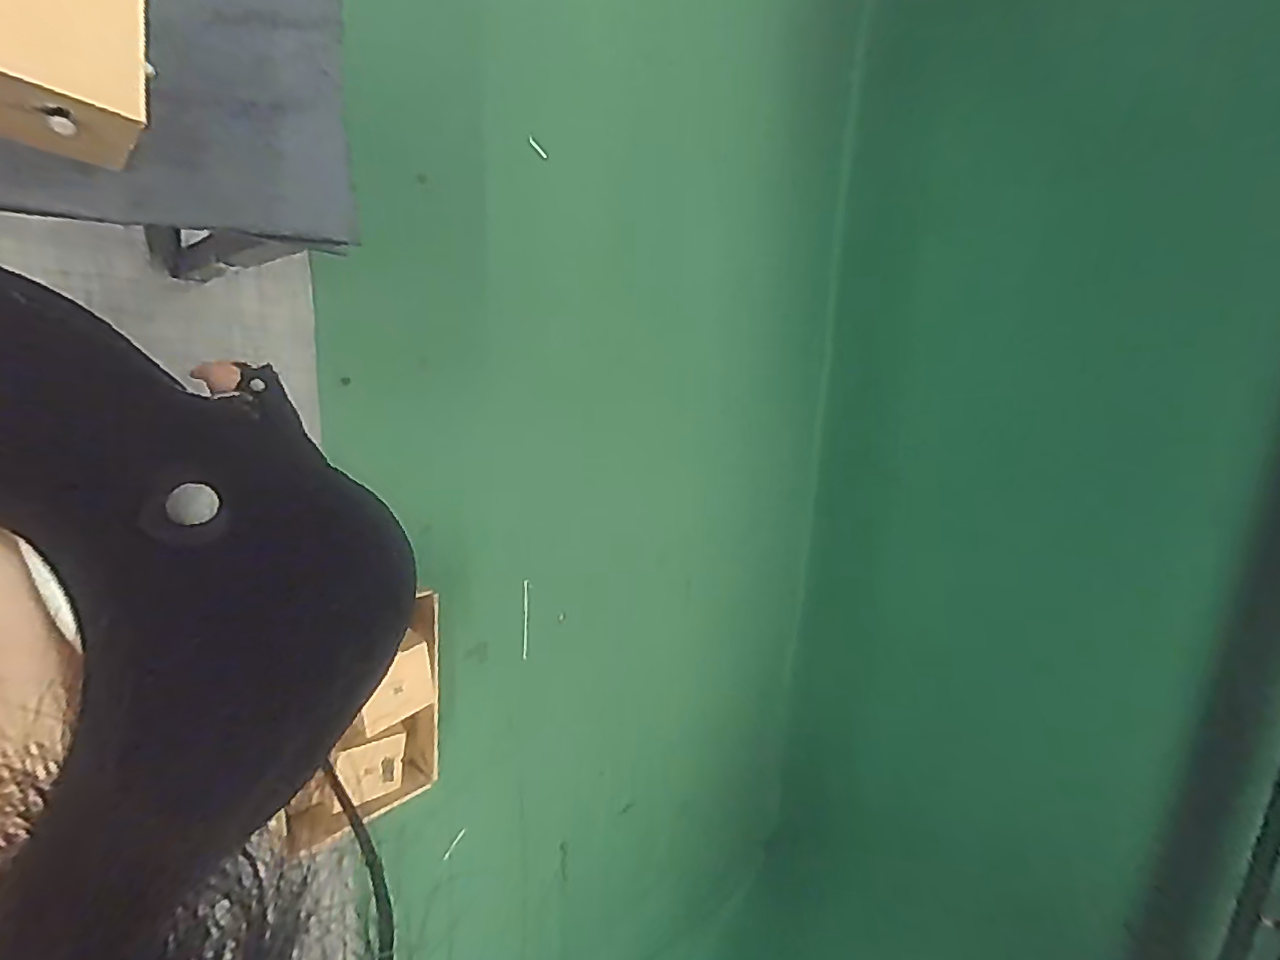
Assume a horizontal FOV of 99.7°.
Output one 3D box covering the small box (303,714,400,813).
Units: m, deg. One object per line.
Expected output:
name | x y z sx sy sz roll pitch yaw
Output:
small box | -0.779 0.743 1.460 0.179 0.176 0.168 3 96 -49

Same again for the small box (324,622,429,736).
small box | -0.634 0.462 1.298 0.168 0.176 0.179 -19 116 -45

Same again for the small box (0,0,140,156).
small box | -0.507 -0.373 0.406 0.179 0.176 0.168 -2 99 -49
